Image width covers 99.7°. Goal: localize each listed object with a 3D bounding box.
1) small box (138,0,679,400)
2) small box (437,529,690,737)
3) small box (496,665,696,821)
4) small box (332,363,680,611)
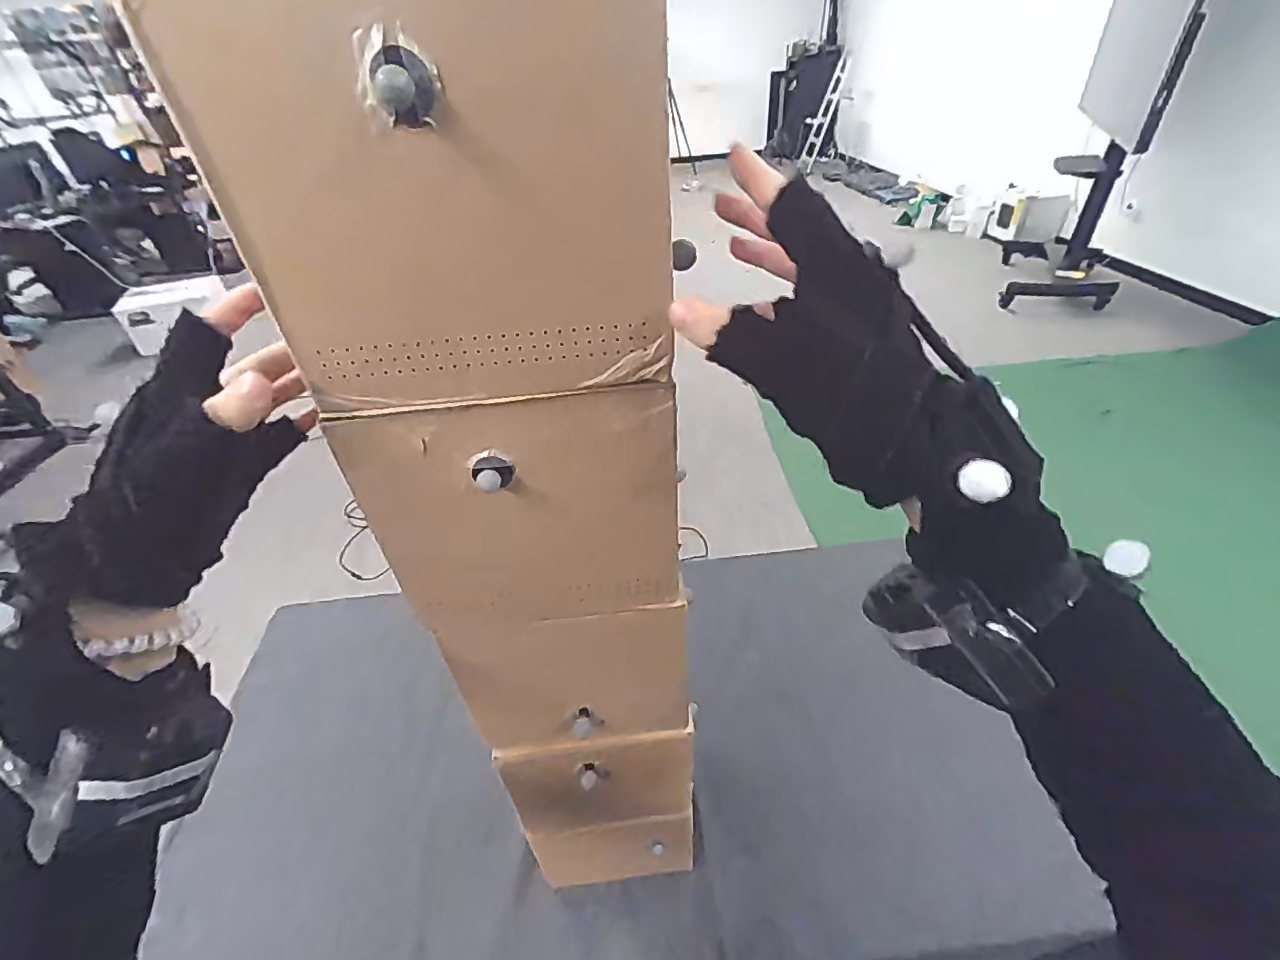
[{"bbox_3d":[-0.076,-0.153,0.279,0.179,0.176,0.168,-5,39,0],"label":"small box"},{"bbox_3d":[-0.054,0.105,0.480,0.179,0.176,0.168,-4,37,-1],"label":"small box"},{"bbox_3d":[-0.041,0.237,0.577,0.179,0.176,0.168,-7,39,-2],"label":"small box"},{"bbox_3d":[-0.070,-0.025,0.381,0.179,0.176,0.168,-6,39,-2],"label":"small box"}]
